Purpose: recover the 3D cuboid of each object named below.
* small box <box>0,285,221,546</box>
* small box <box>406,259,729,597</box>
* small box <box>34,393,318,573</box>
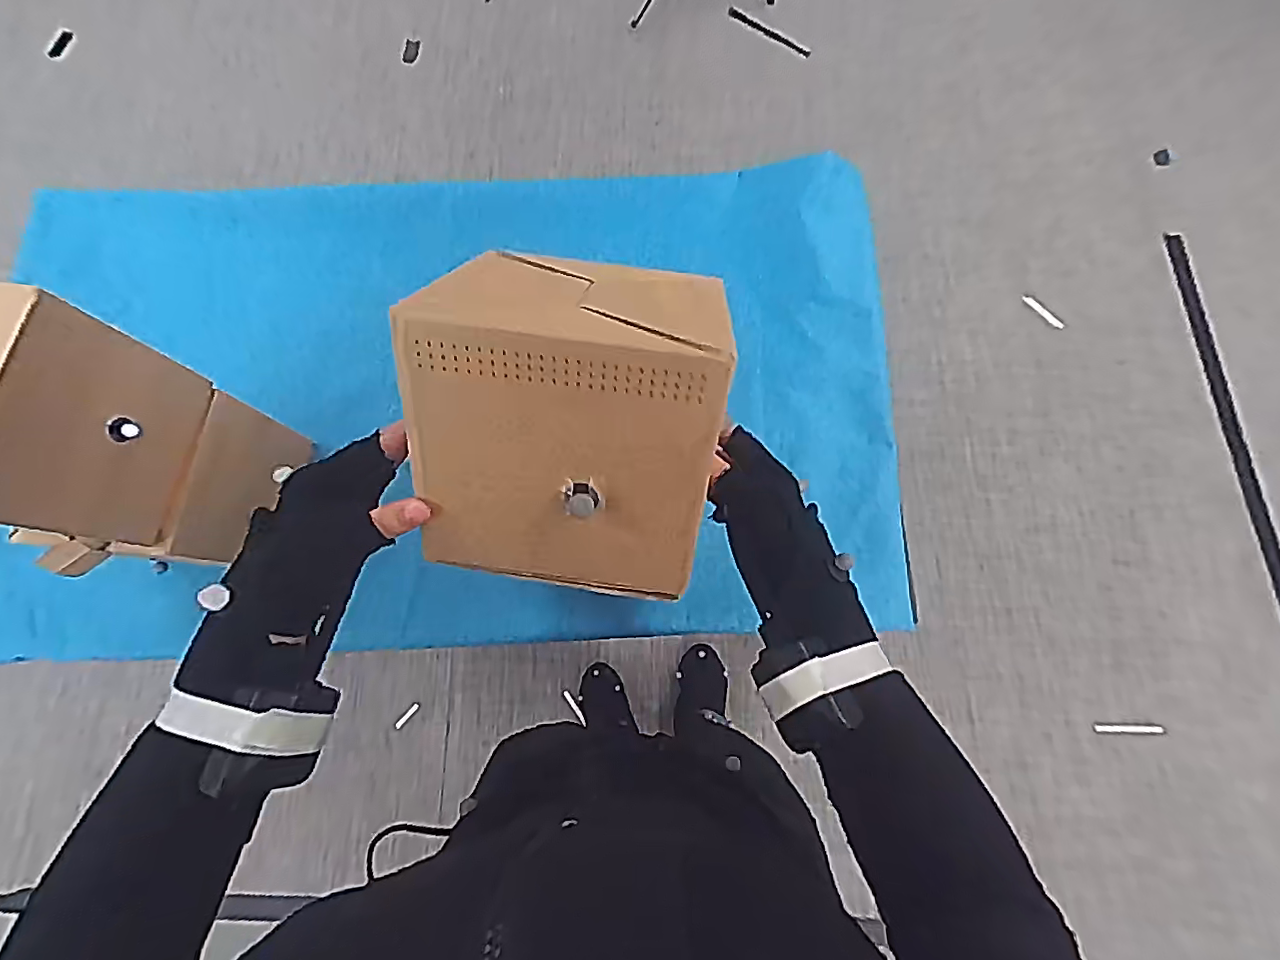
[{"bbox_3d":[-0.530,-0.049,0.468,0.168,0.176,0.179,8,76,4],"label":"small box"},{"bbox_3d":[-0.039,-0.043,0.381,0.179,0.176,0.168,8,35,0],"label":"small box"},{"bbox_3d":[-0.517,0.007,0.624,0.168,0.176,0.179,4,75,2],"label":"small box"}]
